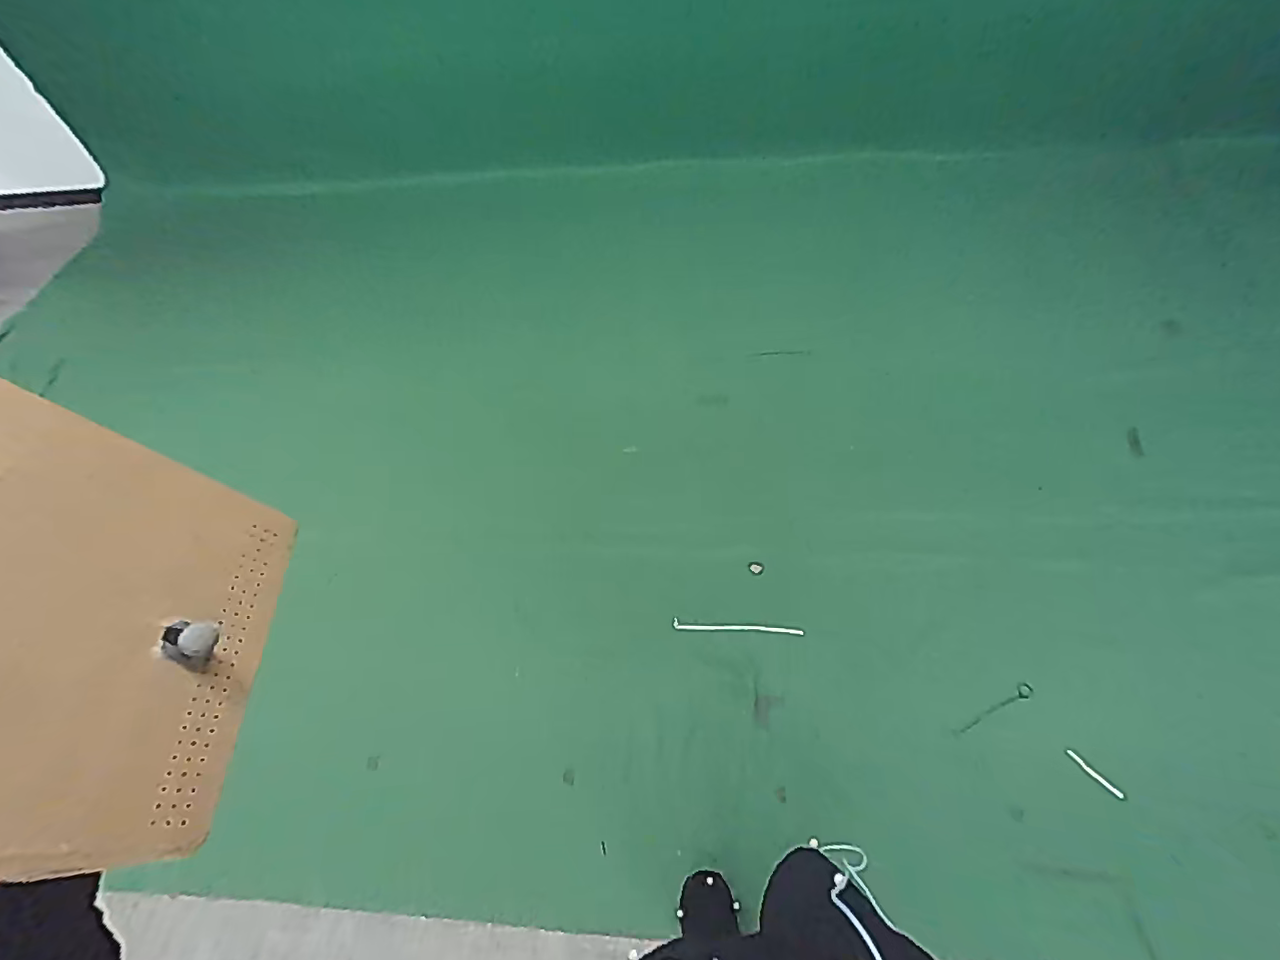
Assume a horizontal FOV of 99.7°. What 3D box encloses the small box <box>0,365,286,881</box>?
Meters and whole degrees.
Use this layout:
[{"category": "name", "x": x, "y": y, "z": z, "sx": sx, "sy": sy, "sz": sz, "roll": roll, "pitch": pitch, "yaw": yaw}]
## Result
[{"category": "small box", "x": -0.307, "y": 0.077, "z": 0.246, "sx": 0.168, "sy": 0.176, "sz": 0.179, "roll": -16, "pitch": 55, "yaw": 15}]
